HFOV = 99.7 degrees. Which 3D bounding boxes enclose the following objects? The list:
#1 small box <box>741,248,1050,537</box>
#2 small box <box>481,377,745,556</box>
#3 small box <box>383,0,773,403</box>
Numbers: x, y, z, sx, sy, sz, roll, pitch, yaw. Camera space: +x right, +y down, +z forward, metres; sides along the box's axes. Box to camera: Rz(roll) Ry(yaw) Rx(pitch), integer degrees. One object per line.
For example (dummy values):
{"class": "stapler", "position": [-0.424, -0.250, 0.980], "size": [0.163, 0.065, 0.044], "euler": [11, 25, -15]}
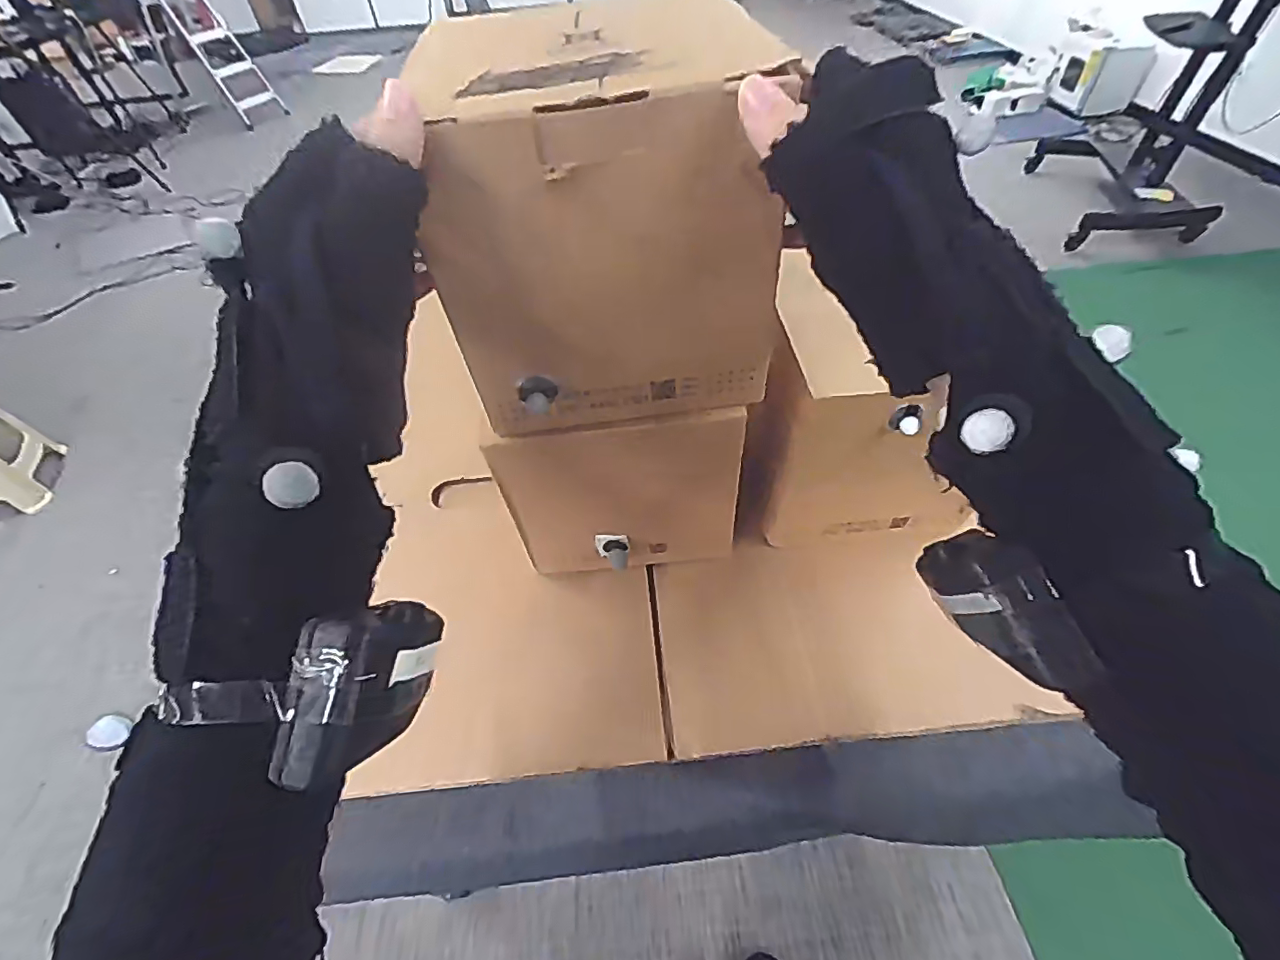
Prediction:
{"class": "small box", "position": [0.176, -0.073, 0.455], "size": [0.168, 0.176, 0.179], "euler": [-4, 49, -2]}
{"class": "small box", "position": [-0.019, -0.061, 0.442], "size": [0.168, 0.176, 0.179], "euler": [-8, 52, 0]}
{"class": "small box", "position": [-0.025, -0.159, 0.331], "size": [0.168, 0.176, 0.179], "euler": [-7, 49, 0]}
